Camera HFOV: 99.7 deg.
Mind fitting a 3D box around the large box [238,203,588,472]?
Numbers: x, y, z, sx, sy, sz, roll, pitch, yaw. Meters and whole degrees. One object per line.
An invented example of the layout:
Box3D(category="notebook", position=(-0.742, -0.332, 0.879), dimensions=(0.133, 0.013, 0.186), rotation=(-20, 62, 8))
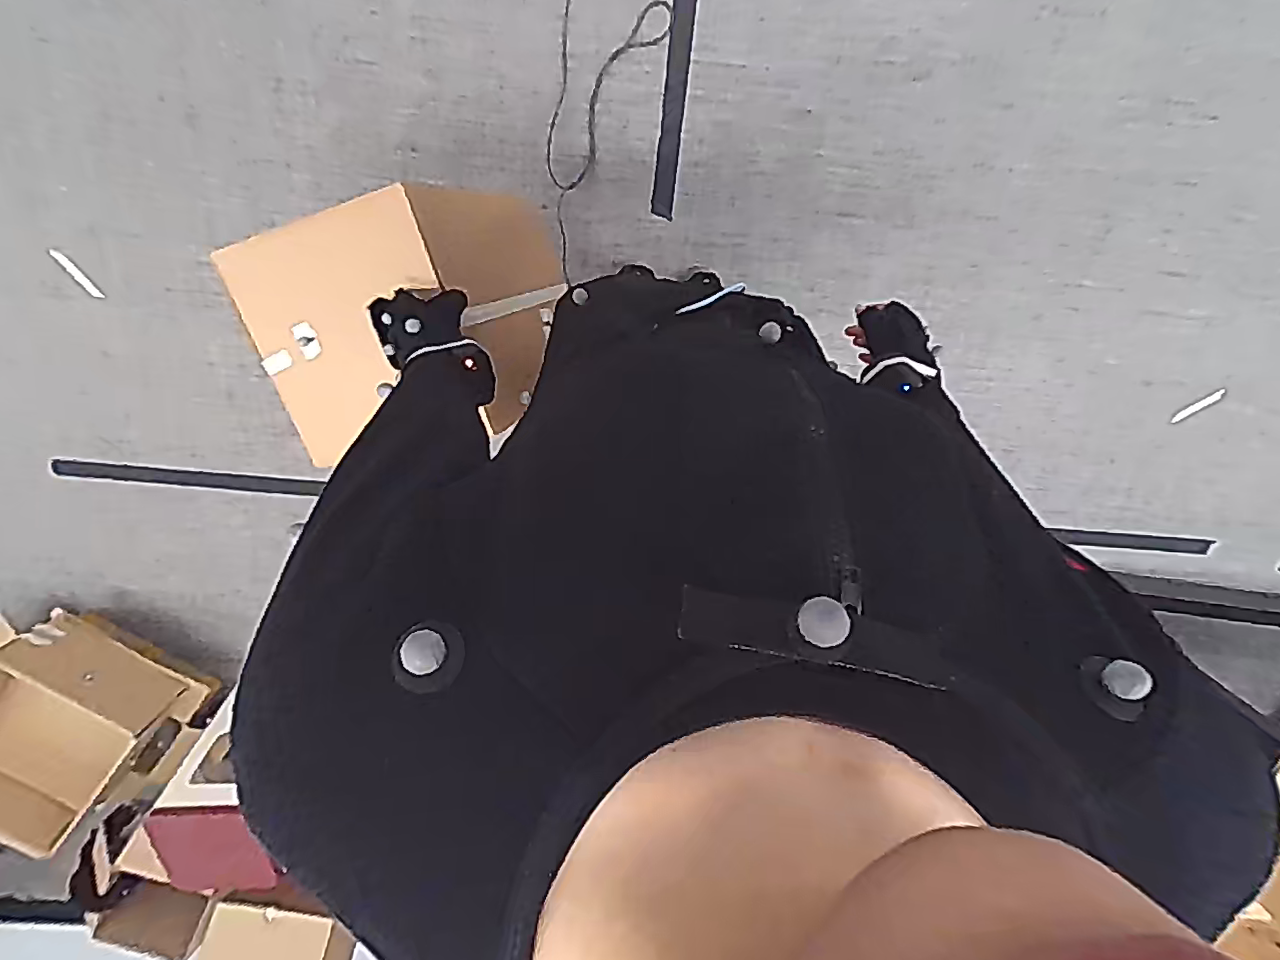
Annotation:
Box3D(category="large box", position=(-0.326, -0.246, 0.903), dimensions=(0.320, 0.408, 0.320), rotation=(-7, 112, 17))
